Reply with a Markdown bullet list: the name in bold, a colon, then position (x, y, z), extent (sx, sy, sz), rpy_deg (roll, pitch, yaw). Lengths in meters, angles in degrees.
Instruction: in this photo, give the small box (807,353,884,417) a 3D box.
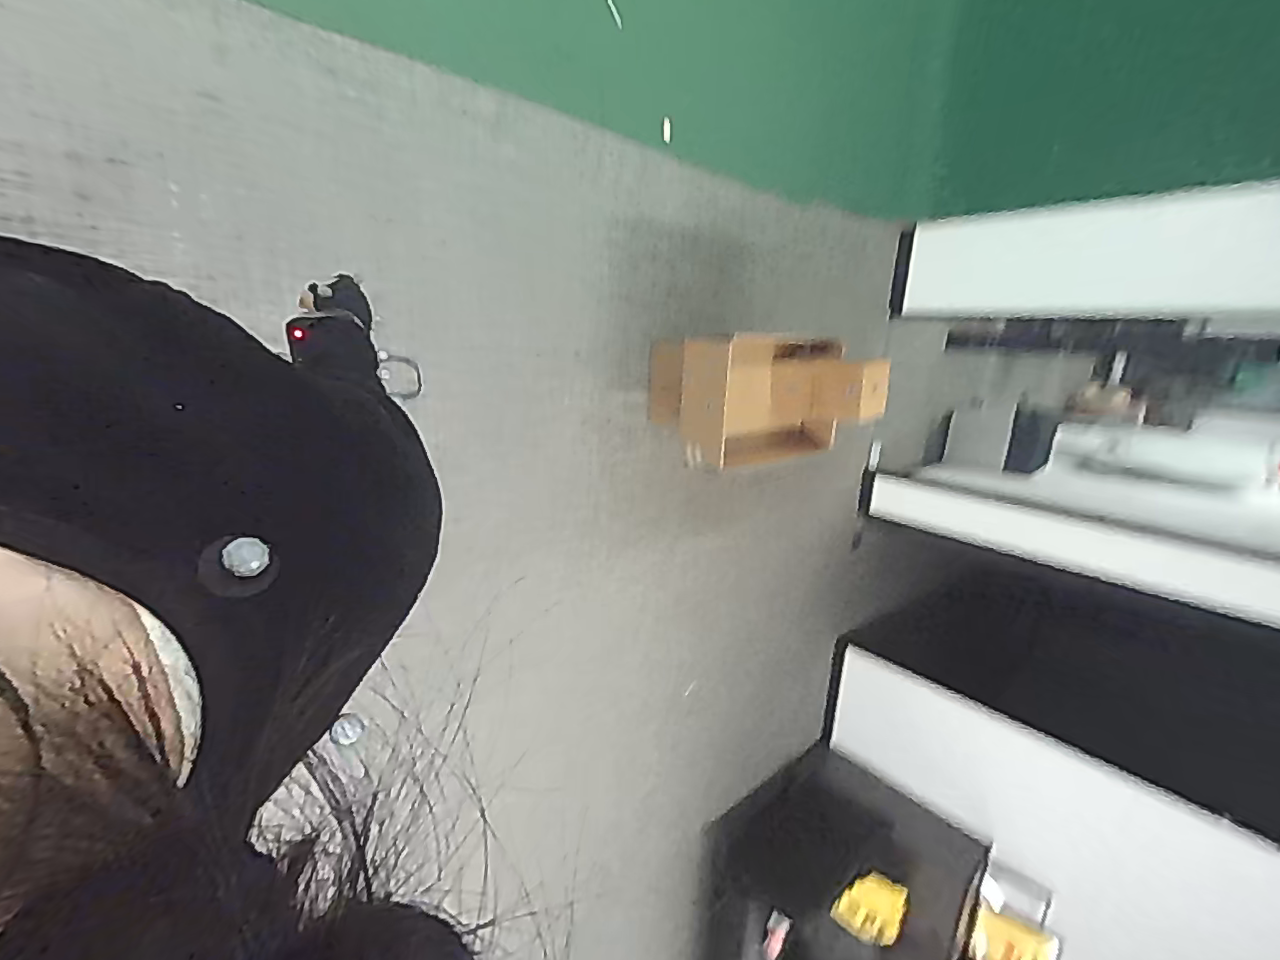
- **small box**: position (0.655, -0.309, 1.734), extent (0.168, 0.176, 0.179), rpy_deg (-17, 113, -38)
